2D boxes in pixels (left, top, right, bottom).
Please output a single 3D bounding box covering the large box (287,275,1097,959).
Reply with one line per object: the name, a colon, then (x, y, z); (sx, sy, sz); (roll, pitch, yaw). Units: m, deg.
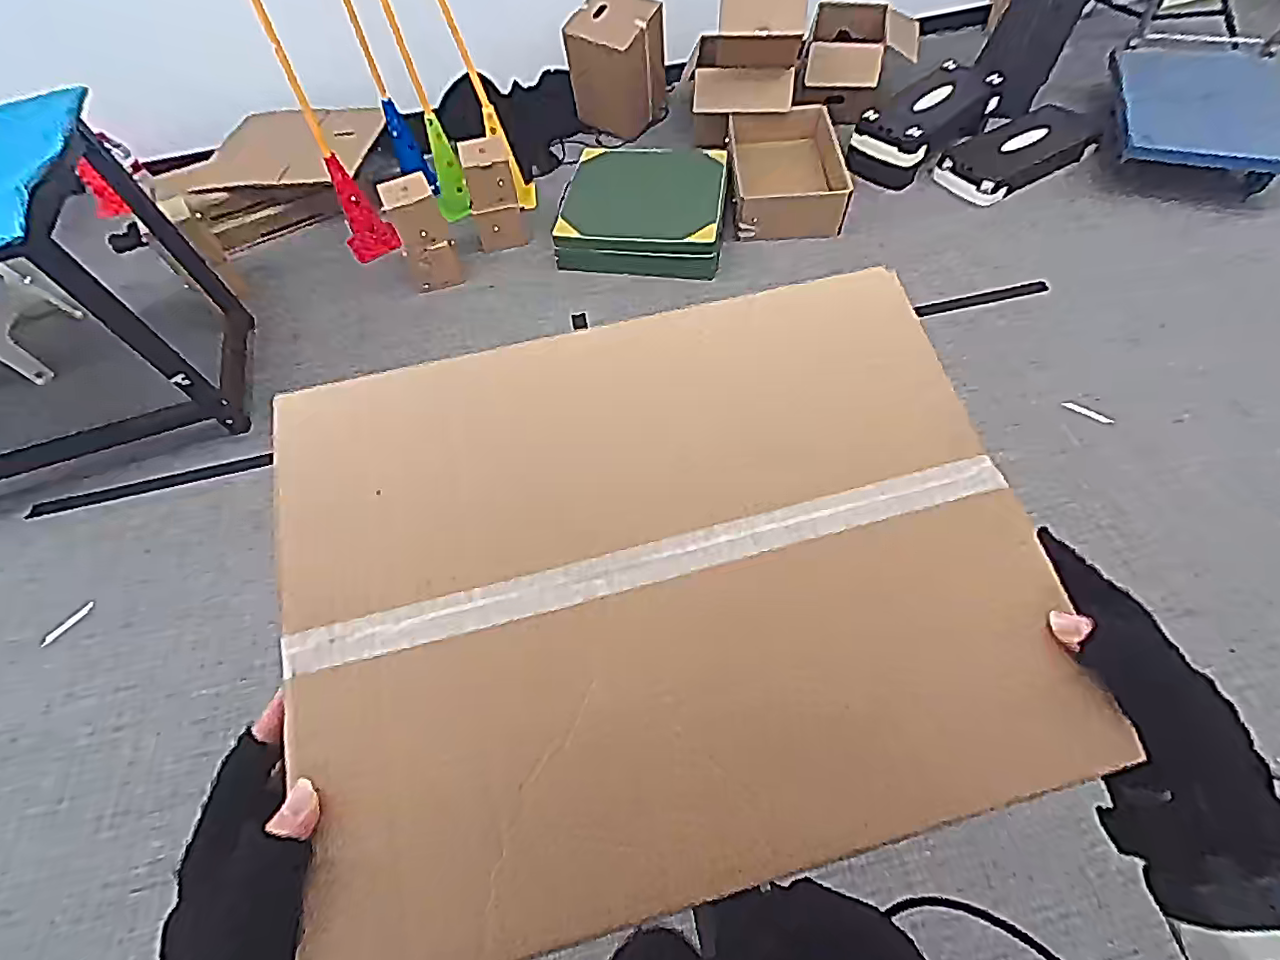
large box: (0.011, 0.094, 0.449); (0.408, 0.320, 0.320); (-15, 71, -5)
